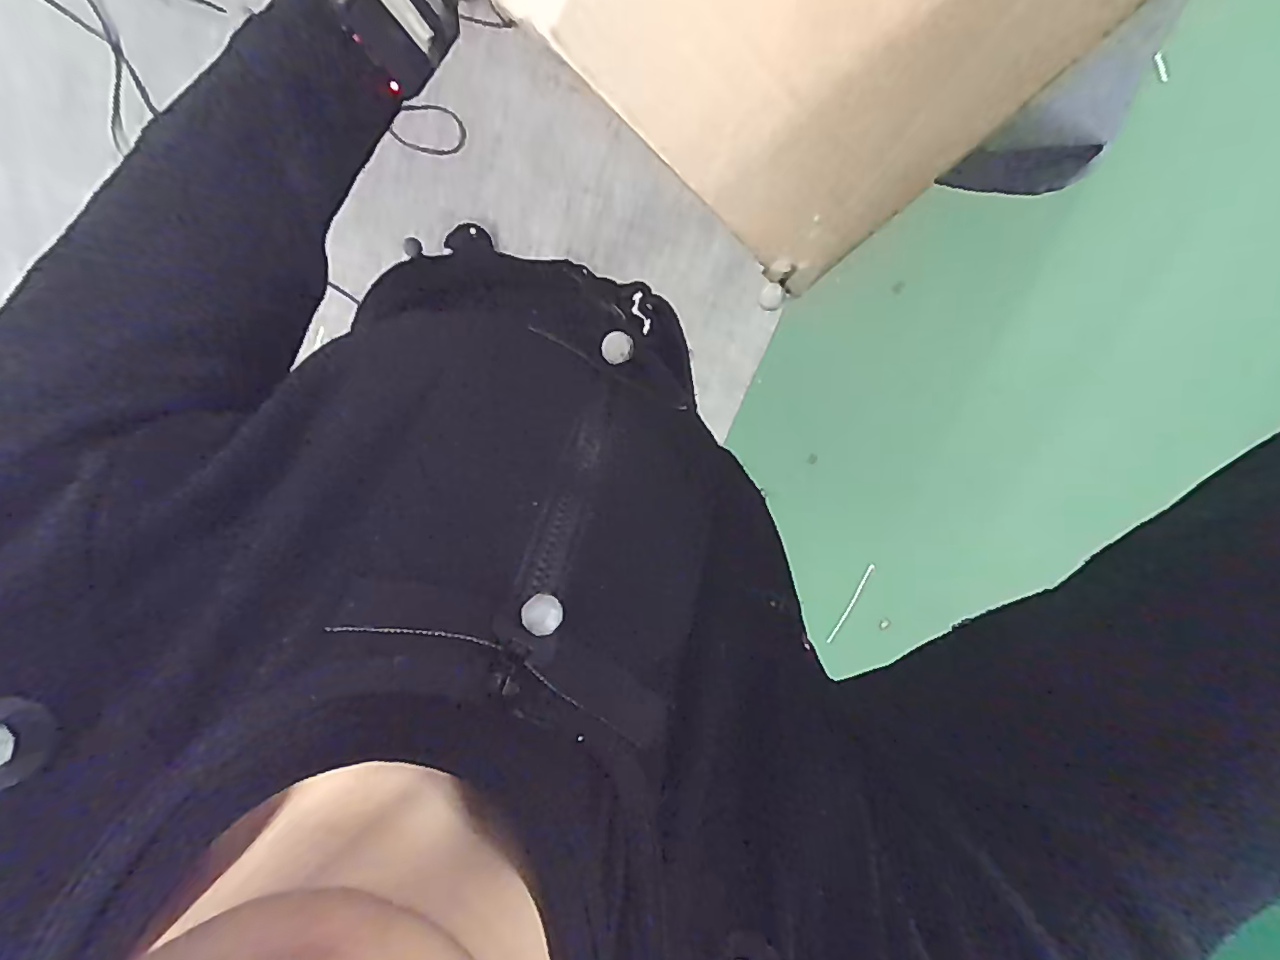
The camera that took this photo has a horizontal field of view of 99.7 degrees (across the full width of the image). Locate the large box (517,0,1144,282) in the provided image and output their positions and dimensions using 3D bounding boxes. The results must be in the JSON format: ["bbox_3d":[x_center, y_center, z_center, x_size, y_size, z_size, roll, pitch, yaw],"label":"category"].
[{"bbox_3d":[0.117,-0.381,0.208,0.320,0.320,0.408,35,132,-19],"label":"large box"}]
